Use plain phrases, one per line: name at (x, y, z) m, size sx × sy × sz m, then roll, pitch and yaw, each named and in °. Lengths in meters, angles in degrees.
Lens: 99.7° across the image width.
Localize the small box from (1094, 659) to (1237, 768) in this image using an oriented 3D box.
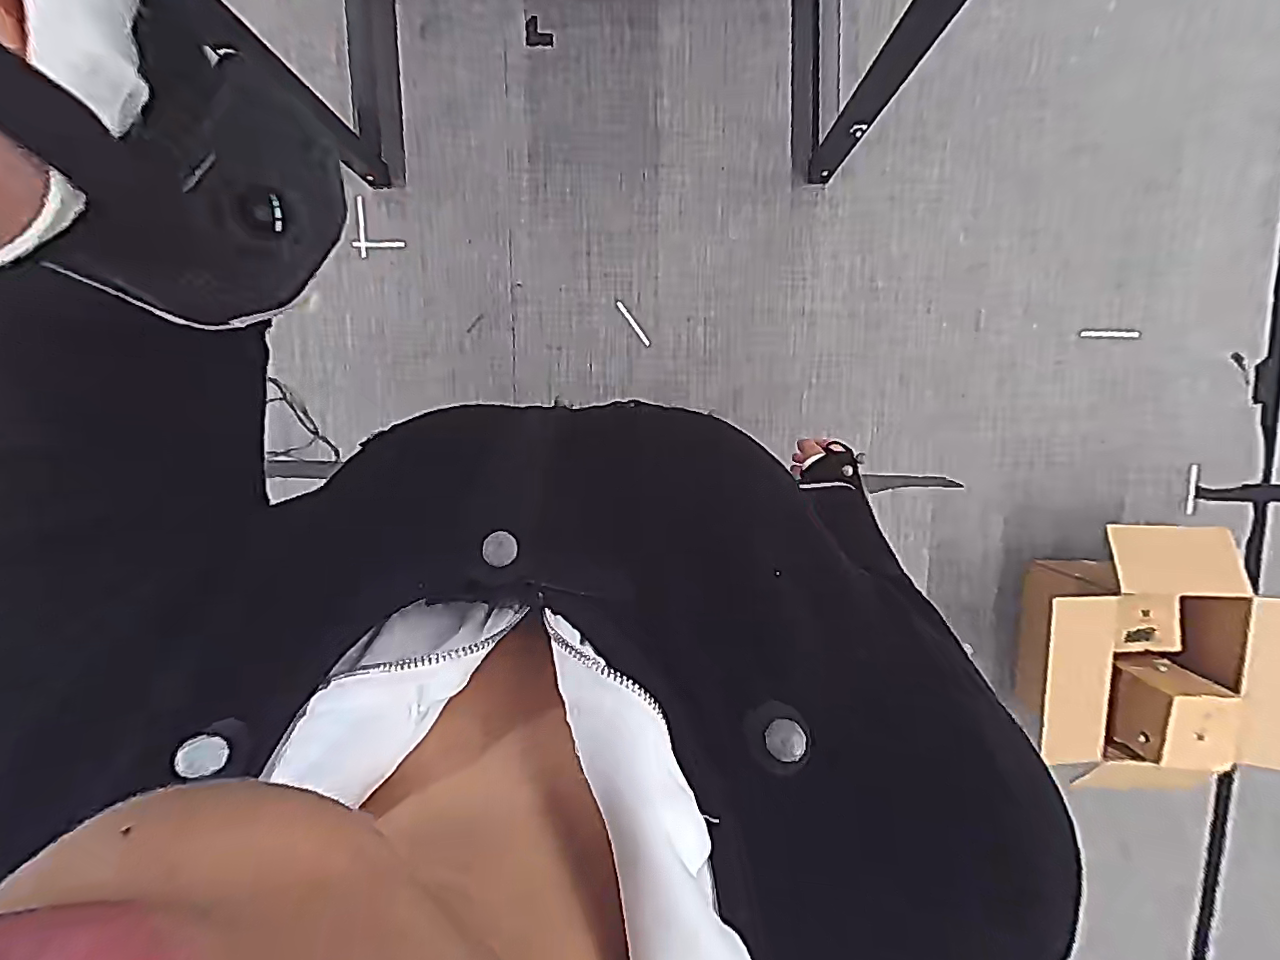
small box at (1.233, 0.549, 1.283) m, size 0.168 × 0.176 × 0.179 m, roll 2°, pitch 97°, yaw -1°
